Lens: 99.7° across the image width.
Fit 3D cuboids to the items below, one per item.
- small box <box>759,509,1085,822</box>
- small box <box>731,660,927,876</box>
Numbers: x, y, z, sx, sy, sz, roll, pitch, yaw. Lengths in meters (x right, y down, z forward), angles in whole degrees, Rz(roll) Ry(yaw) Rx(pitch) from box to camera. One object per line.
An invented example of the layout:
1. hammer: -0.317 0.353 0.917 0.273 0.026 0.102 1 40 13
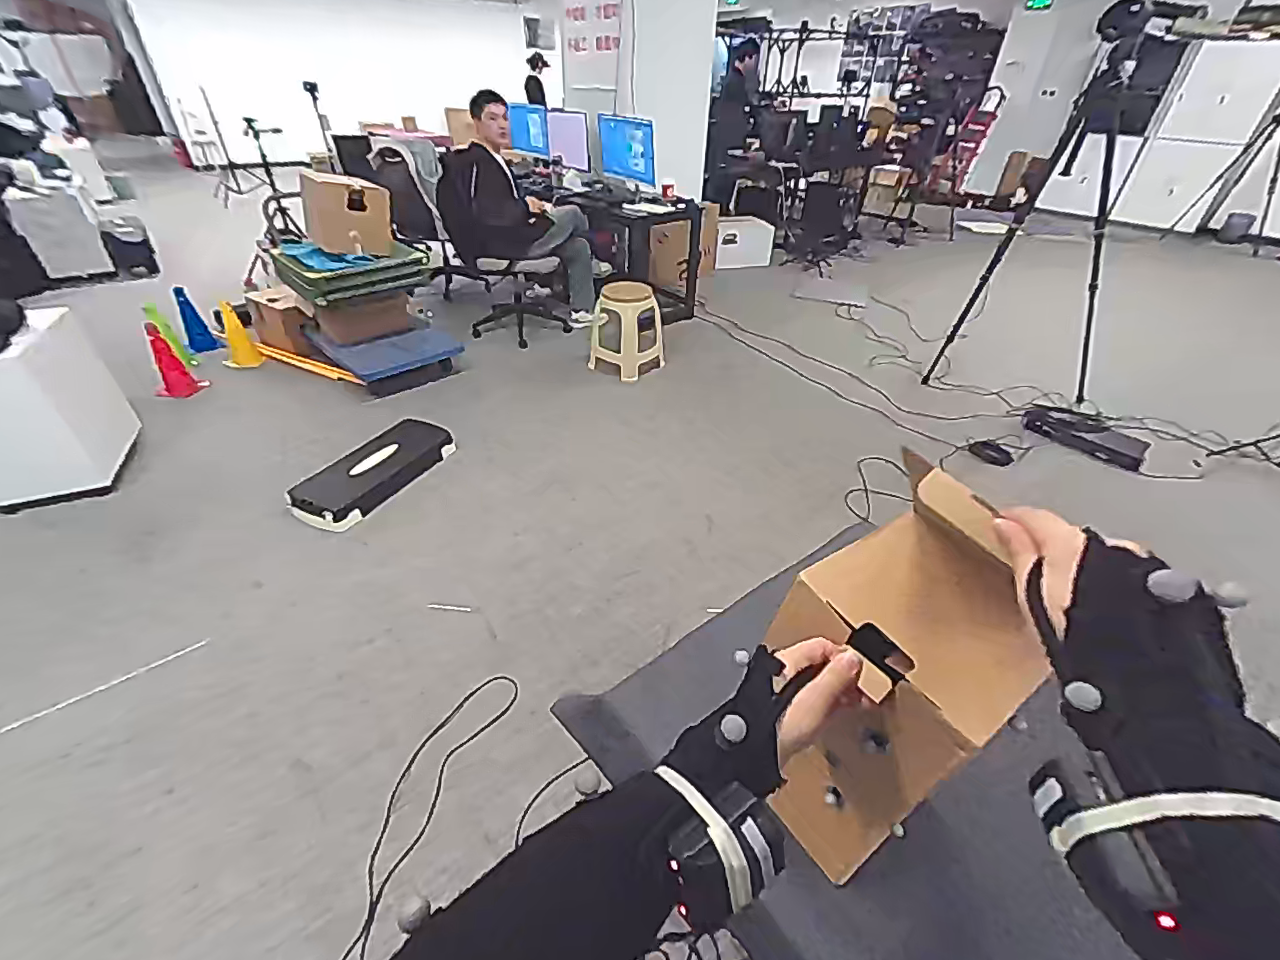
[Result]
1. small box: 0.228 0.159 0.482 0.179 0.176 0.168 -18 49 -32
2. small box: 0.223 0.286 0.606 0.168 0.176 0.179 -21 43 -29
